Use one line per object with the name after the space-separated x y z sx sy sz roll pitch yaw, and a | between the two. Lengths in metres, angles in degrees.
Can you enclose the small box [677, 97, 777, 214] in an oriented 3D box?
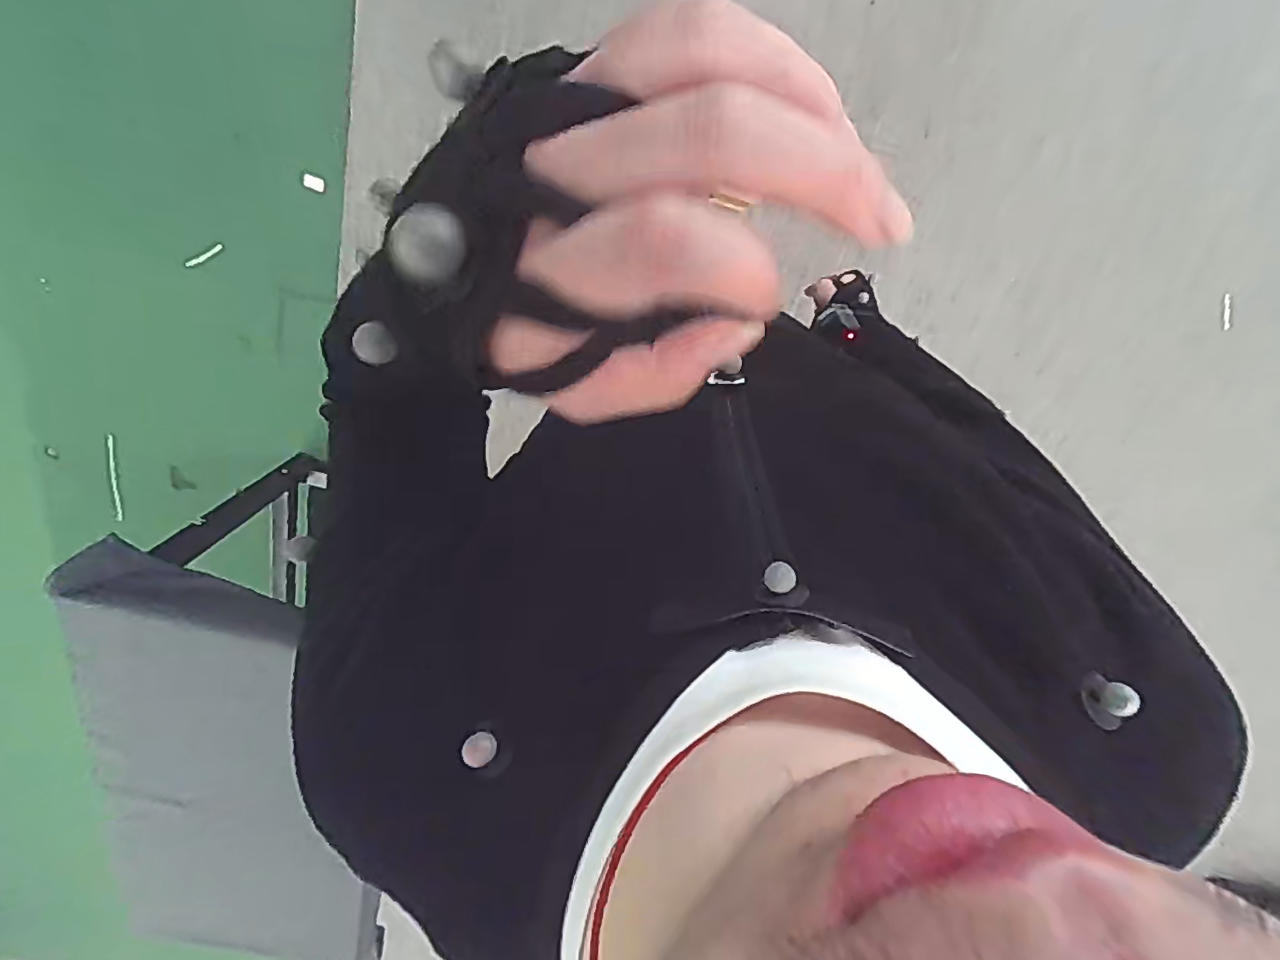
0.186 -0.722 1.225 0.168 0.176 0.179 18 114 -5 | small box
